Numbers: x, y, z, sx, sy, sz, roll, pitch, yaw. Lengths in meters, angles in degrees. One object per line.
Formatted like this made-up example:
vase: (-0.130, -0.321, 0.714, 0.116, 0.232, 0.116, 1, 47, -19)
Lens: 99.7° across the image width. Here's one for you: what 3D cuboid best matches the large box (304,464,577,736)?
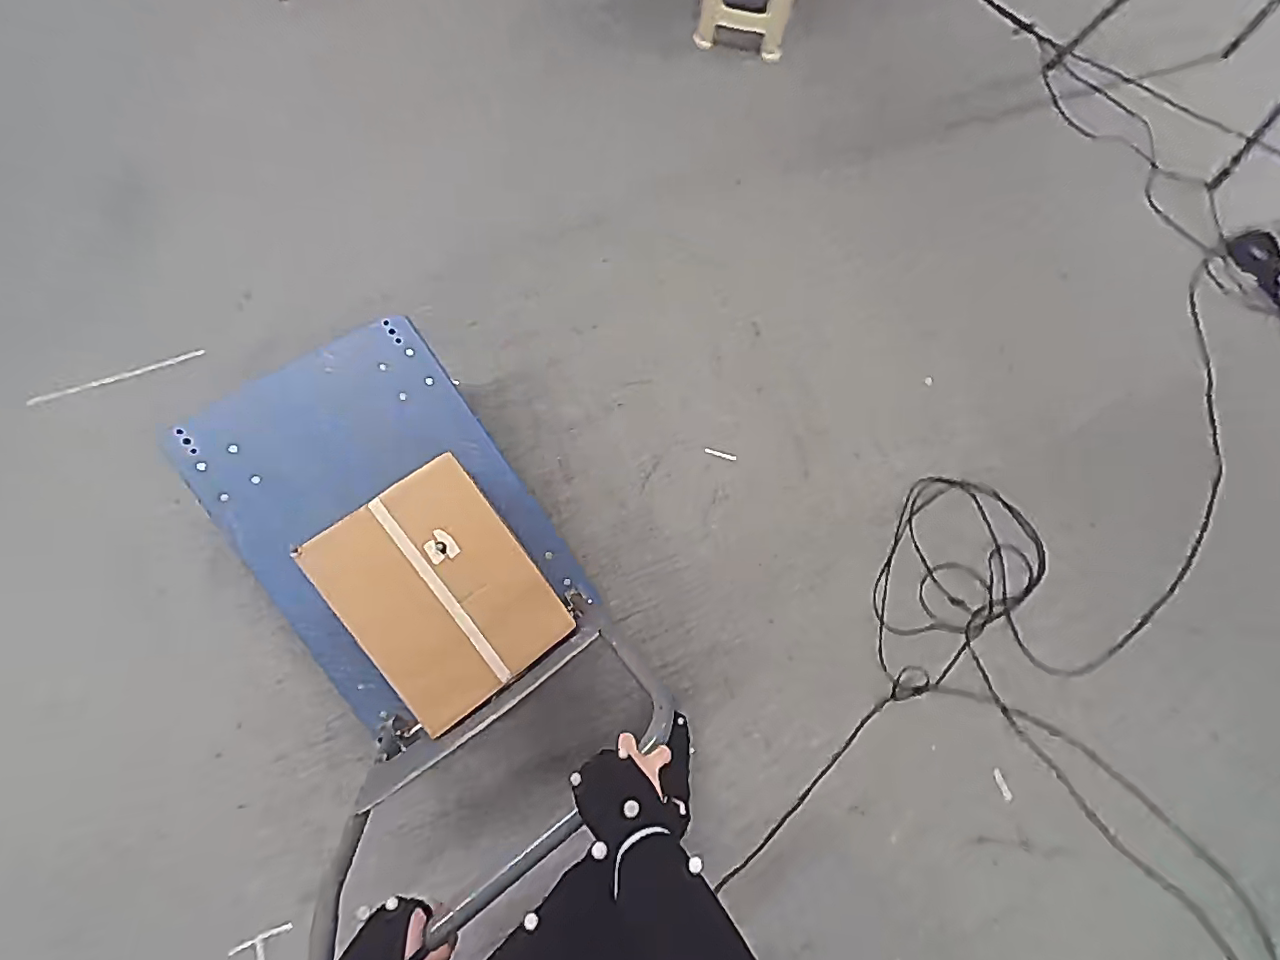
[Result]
large box: (-0.382, 0.228, 1.127, 0.320, 0.320, 0.408, -37, 93, -14)
